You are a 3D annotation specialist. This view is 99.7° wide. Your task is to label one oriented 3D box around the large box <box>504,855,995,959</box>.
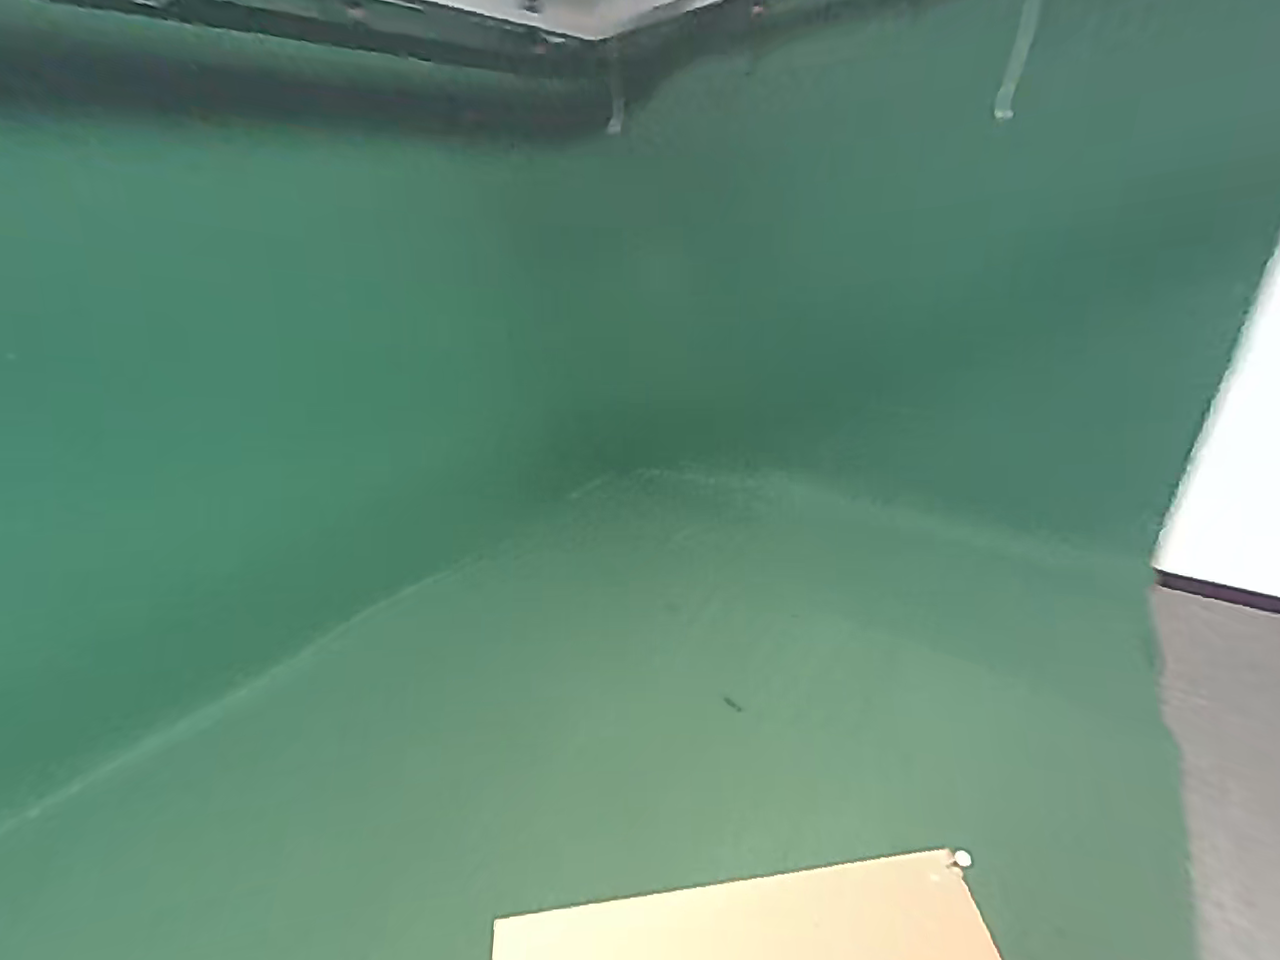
[{"bbox_3d":[0.103,0.573,0.461,0.408,0.320,0.320,-6,42,-3],"label":"large box"}]
